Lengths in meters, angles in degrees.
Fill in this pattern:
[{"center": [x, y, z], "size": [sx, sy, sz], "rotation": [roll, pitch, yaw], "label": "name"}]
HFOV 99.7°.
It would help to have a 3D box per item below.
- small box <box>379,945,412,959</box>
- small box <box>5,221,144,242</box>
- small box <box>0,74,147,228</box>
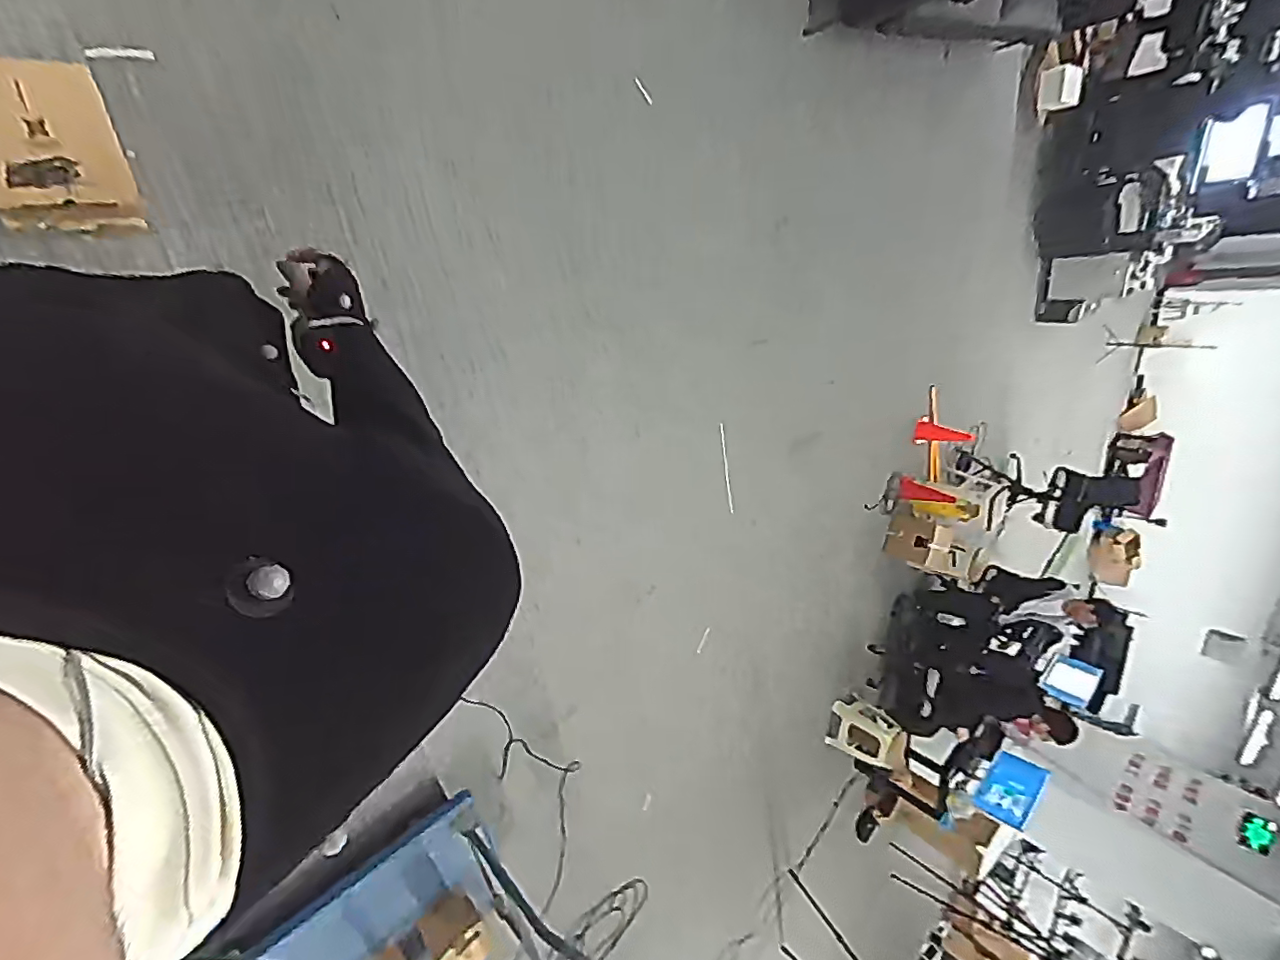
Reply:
[{"center": [-0.779, 1.634, 1.701], "size": [0.168, 0.176, 0.179], "rotation": [-27, 118, -34], "label": "small box"}, {"center": [-0.983, -0.505, 0.921], "size": [0.168, 0.176, 0.179], "rotation": [-22, 118, -36], "label": "small box"}, {"center": [-0.880, -0.483, 0.816], "size": [0.168, 0.176, 0.179], "rotation": [-24, 117, -35], "label": "small box"}]
